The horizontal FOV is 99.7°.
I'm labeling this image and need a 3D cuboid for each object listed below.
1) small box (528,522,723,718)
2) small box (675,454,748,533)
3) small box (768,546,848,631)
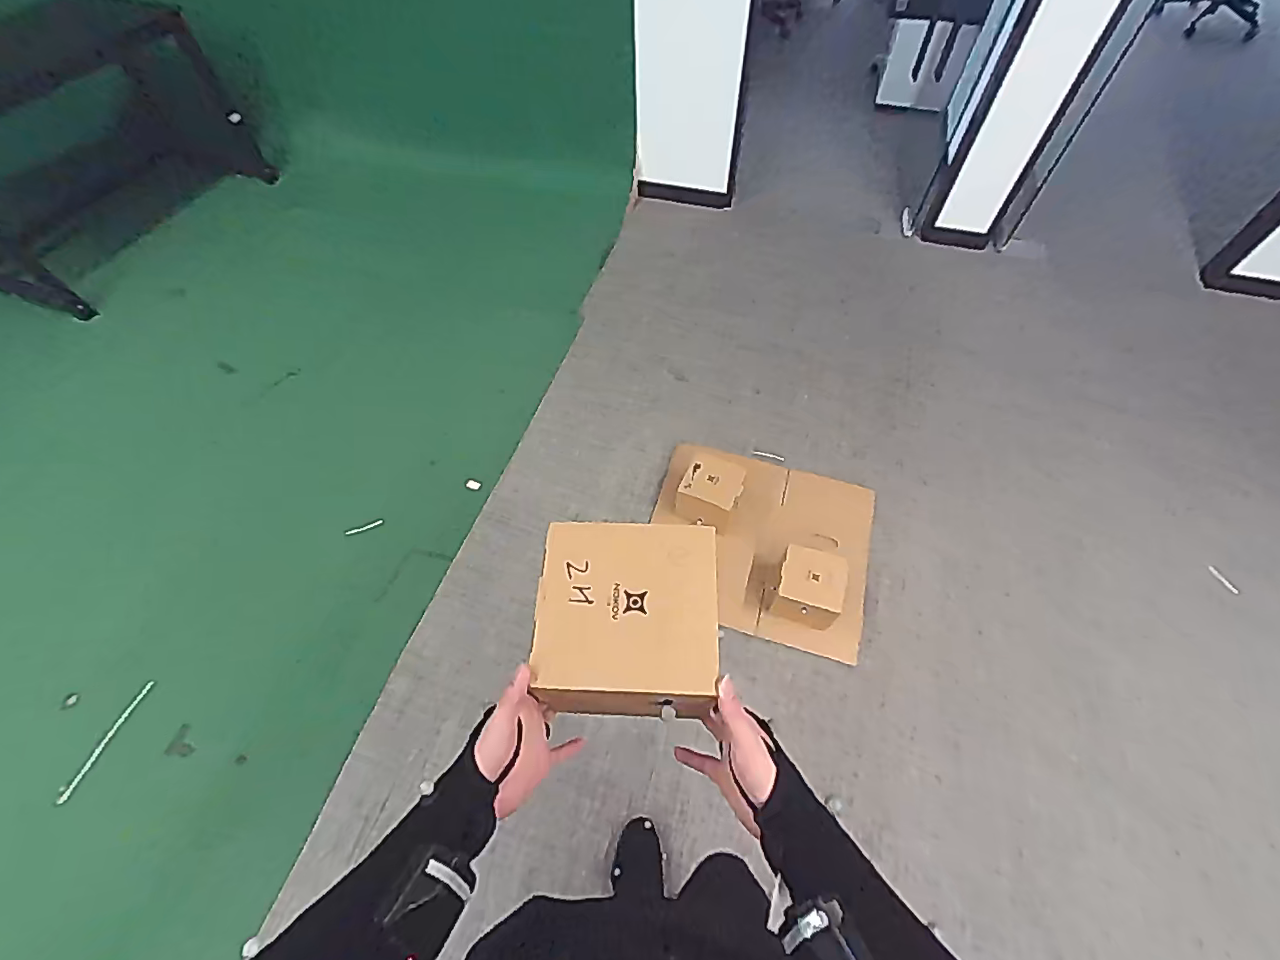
[{"bbox_3d":[-0.008,0.158,0.588,0.179,0.176,0.168,1,59,3],"label":"small box"},{"bbox_3d":[0.224,0.051,1.729,0.179,0.176,0.168,22,61,14],"label":"small box"},{"bbox_3d":[0.480,0.317,1.563,0.179,0.176,0.168,16,60,11],"label":"small box"}]
